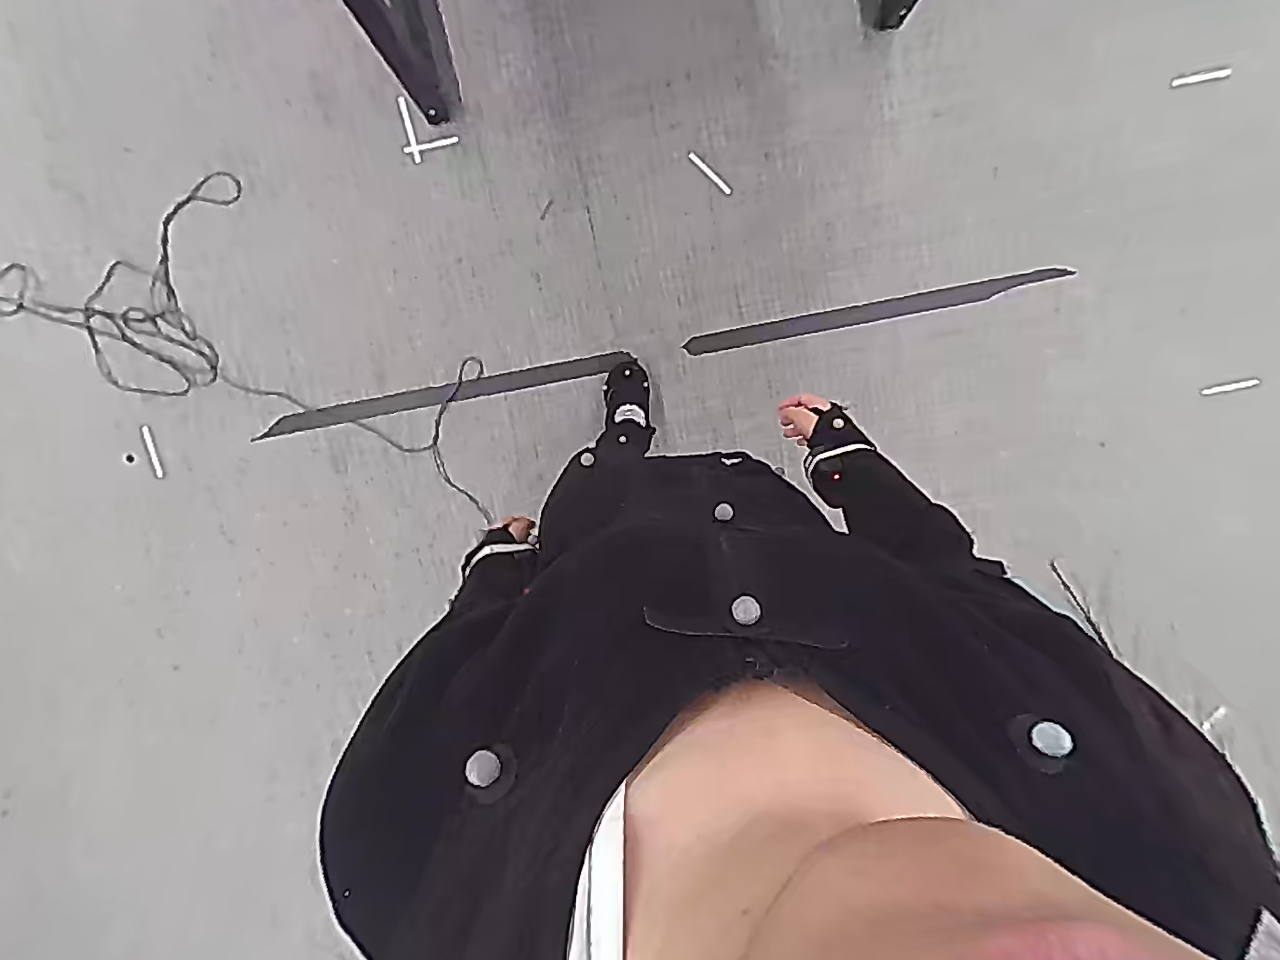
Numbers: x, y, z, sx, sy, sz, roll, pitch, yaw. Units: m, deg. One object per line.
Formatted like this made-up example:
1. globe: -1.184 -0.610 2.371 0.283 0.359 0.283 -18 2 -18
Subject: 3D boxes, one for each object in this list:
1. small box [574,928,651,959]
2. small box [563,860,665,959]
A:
1. small box: -0.062 1.070 1.088 0.168 0.176 0.179 39 95 -6
2. small box: -0.065 1.037 1.249 0.168 0.176 0.179 39 96 -7
